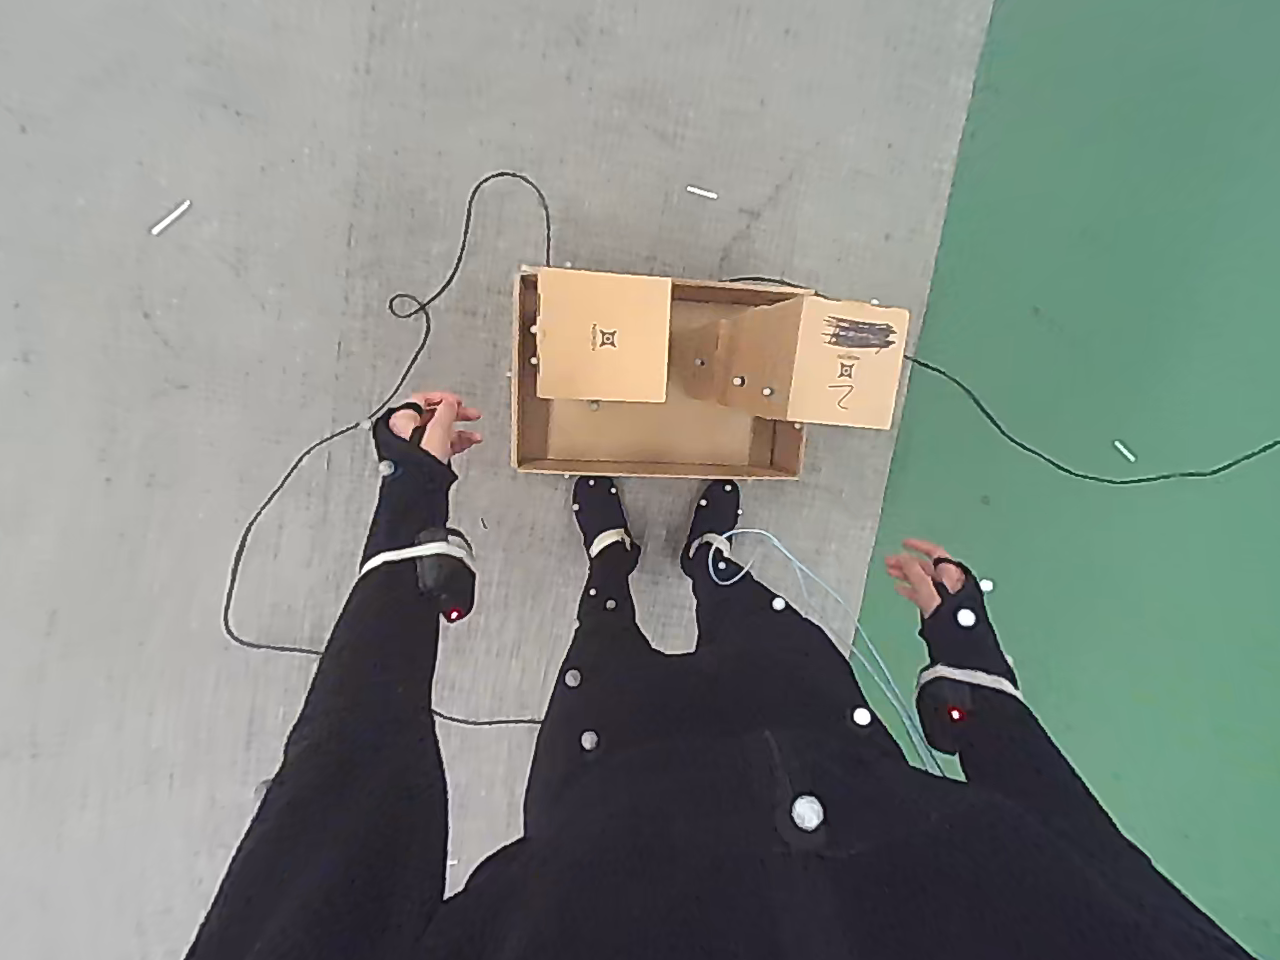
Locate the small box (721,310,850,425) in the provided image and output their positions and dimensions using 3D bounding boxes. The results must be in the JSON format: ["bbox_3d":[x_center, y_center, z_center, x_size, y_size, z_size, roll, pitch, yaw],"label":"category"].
[{"bbox_3d":[0.259,-0.203,1.007,0.168,0.176,0.179,6,97,-11],"label":"small box"}]

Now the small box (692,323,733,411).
[{"bbox_3d":[0.218,-0.232,1.165,0.179,0.176,0.168,6,98,-10],"label":"small box"}]

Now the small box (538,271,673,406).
[{"bbox_3d":[-0.058,-0.200,0.791,0.179,0.176,0.168,1,101,-9],"label":"small box"}]
